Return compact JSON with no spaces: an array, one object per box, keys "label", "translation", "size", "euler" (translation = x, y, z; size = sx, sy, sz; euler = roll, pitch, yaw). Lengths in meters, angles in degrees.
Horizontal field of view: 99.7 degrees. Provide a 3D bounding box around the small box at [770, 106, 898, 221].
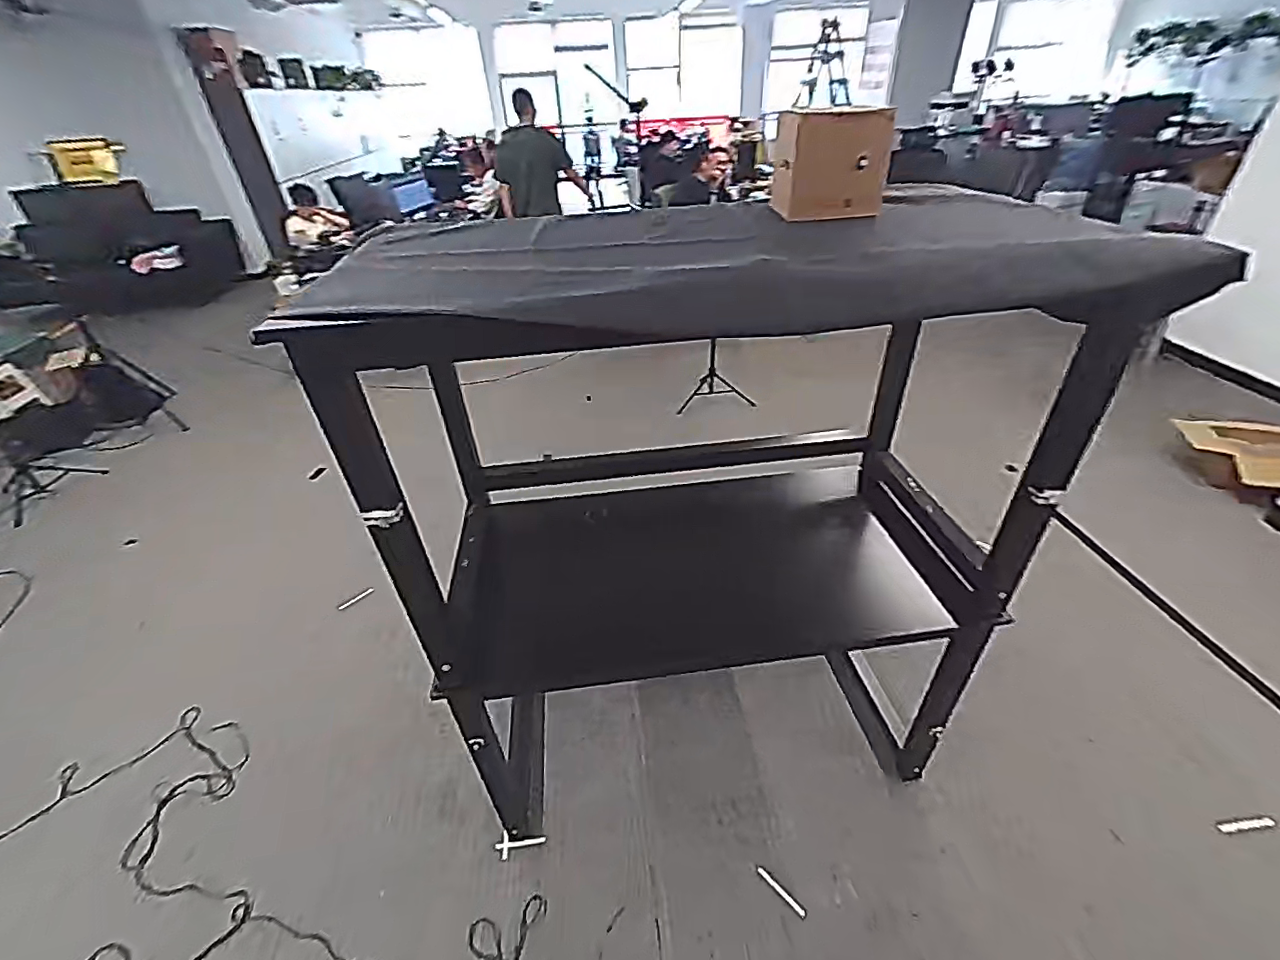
[{"label":"small box","translation":[0.345,-0.581,0.998],"size":[0.168,0.176,0.179],"euler":[-2,35,0]}]
